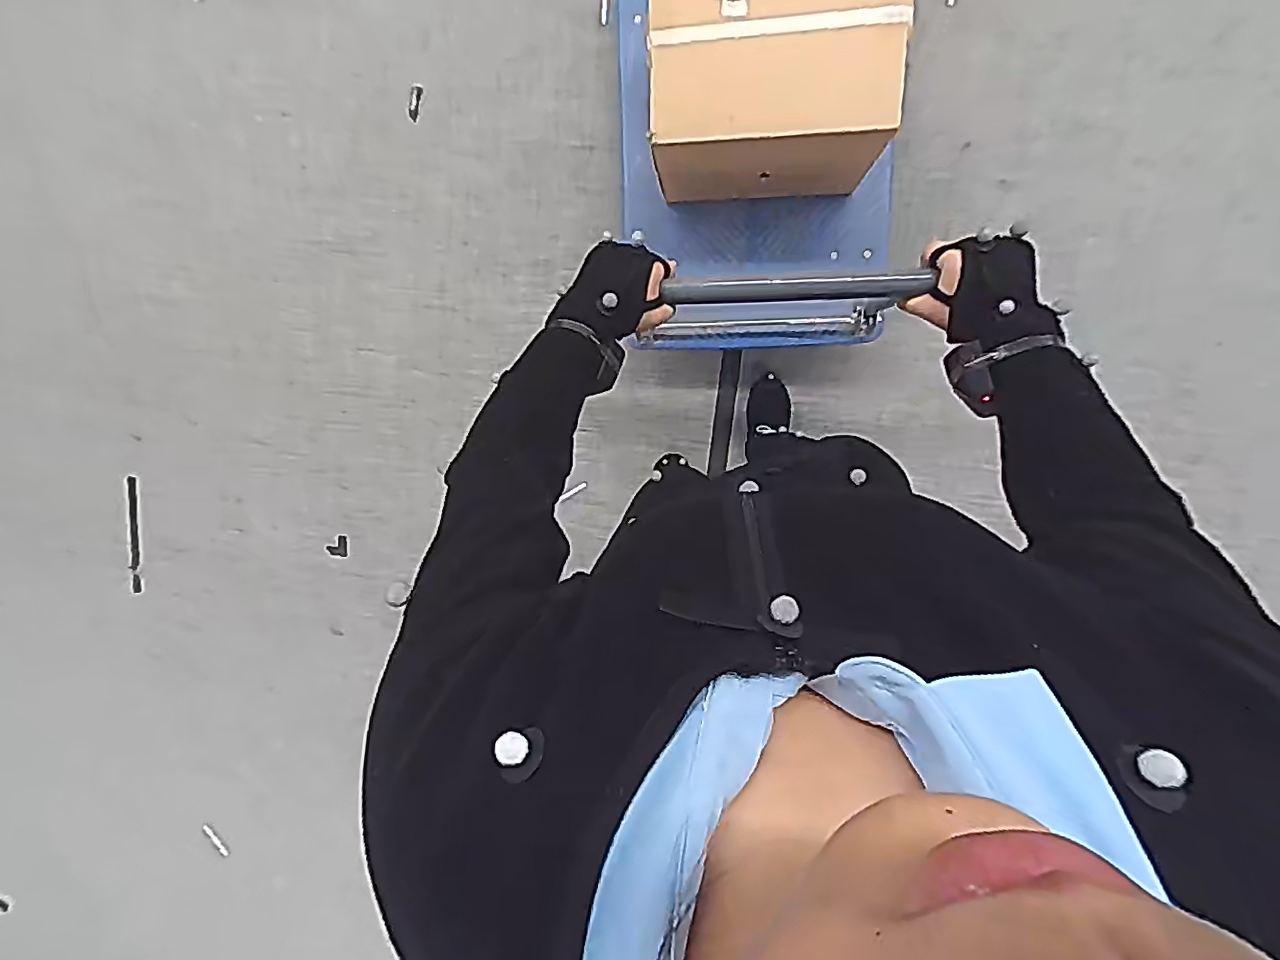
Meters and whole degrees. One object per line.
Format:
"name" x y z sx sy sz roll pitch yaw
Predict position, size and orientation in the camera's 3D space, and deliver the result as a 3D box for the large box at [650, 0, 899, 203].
"large box" 0.237 -0.747 1.030 0.408 0.320 0.320 1 99 9
